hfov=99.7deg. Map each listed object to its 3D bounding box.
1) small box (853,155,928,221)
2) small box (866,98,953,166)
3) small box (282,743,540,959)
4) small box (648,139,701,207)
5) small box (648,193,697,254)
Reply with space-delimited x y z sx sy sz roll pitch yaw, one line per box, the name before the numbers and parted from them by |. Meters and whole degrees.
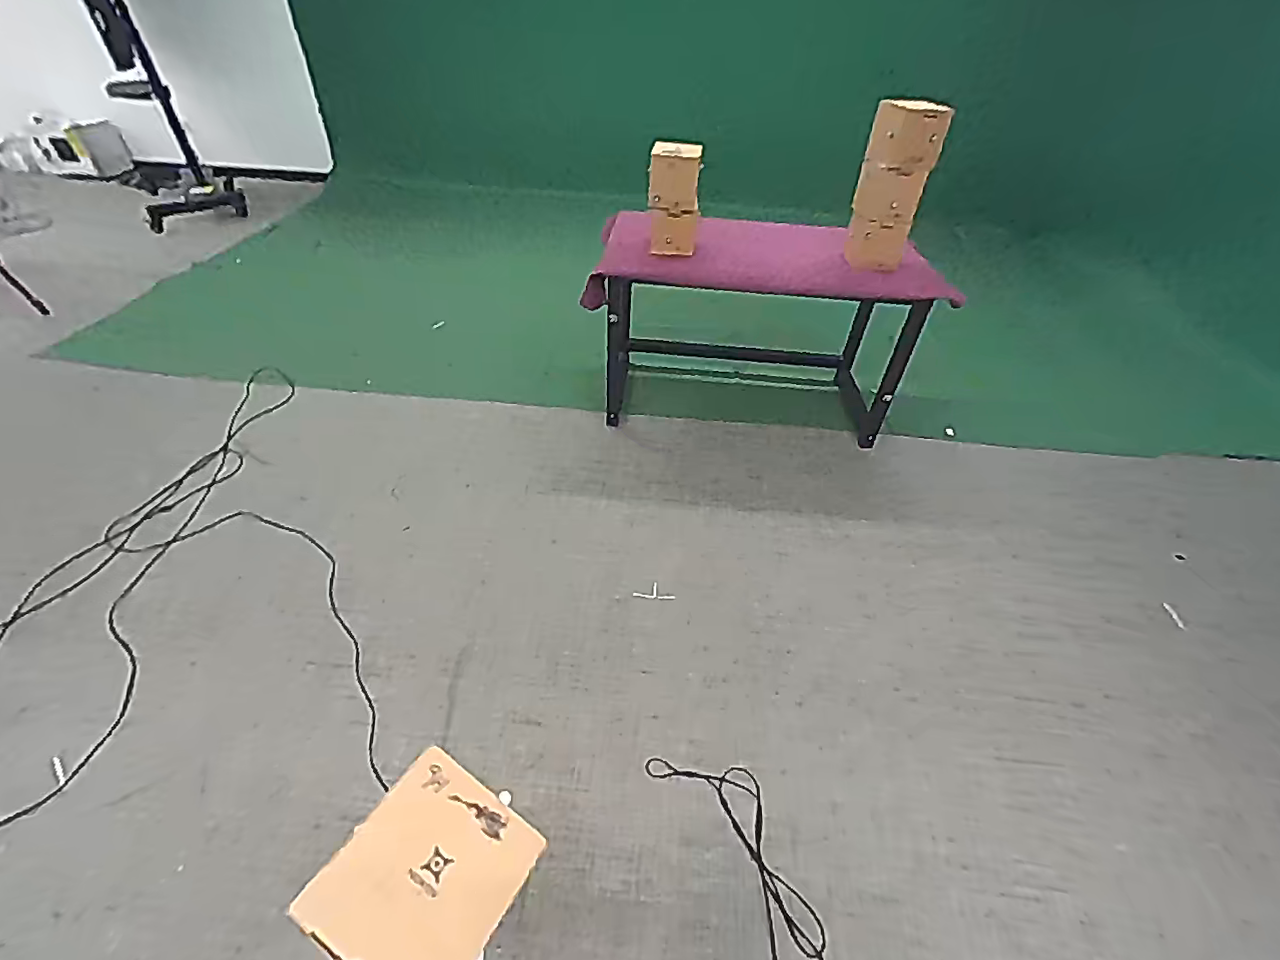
small box | 0.867 -1.028 1.897 0.168 0.176 0.179 2 43 -1
small box | 0.881 -1.148 1.787 0.168 0.176 0.179 -4 43 -9
small box | -0.235 0.428 0.581 0.168 0.176 0.179 35 47 7
small box | 0.119 -1.076 1.899 0.168 0.176 0.179 8 43 3
small box | 0.120 -0.967 2.024 0.168 0.176 0.179 4 44 -1
